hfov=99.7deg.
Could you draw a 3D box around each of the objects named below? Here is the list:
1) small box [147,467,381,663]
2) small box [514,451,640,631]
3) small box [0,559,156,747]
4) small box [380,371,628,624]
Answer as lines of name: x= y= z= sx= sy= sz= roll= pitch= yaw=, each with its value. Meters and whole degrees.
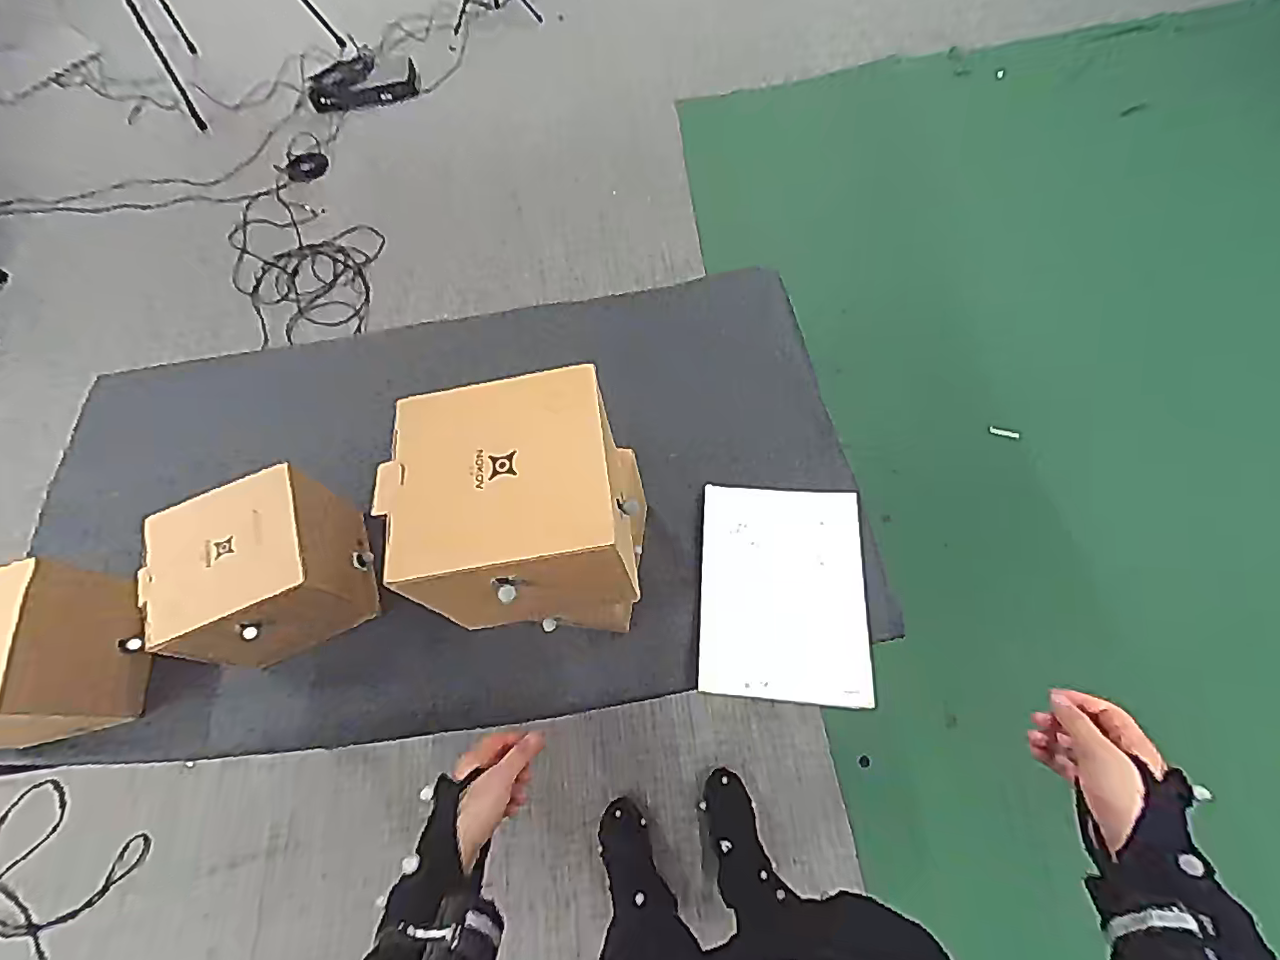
small box: x=-0.465 y=0.117 z=0.687 sx=0.179 sy=0.176 sz=0.168 roll=-23 pitch=65 yaw=-5
small box: x=-0.096 y=0.074 z=0.659 sx=0.168 sy=0.176 sz=0.179 roll=4 pitch=66 yaw=10
small box: x=-0.750 y=0.221 z=0.670 sx=0.168 sy=0.176 sz=0.179 roll=-14 pitch=64 yaw=0
small box: x=-0.110 y=0.027 z=0.503 sx=0.179 sy=0.176 sz=0.168 roll=-11 pitch=64 yaw=2
